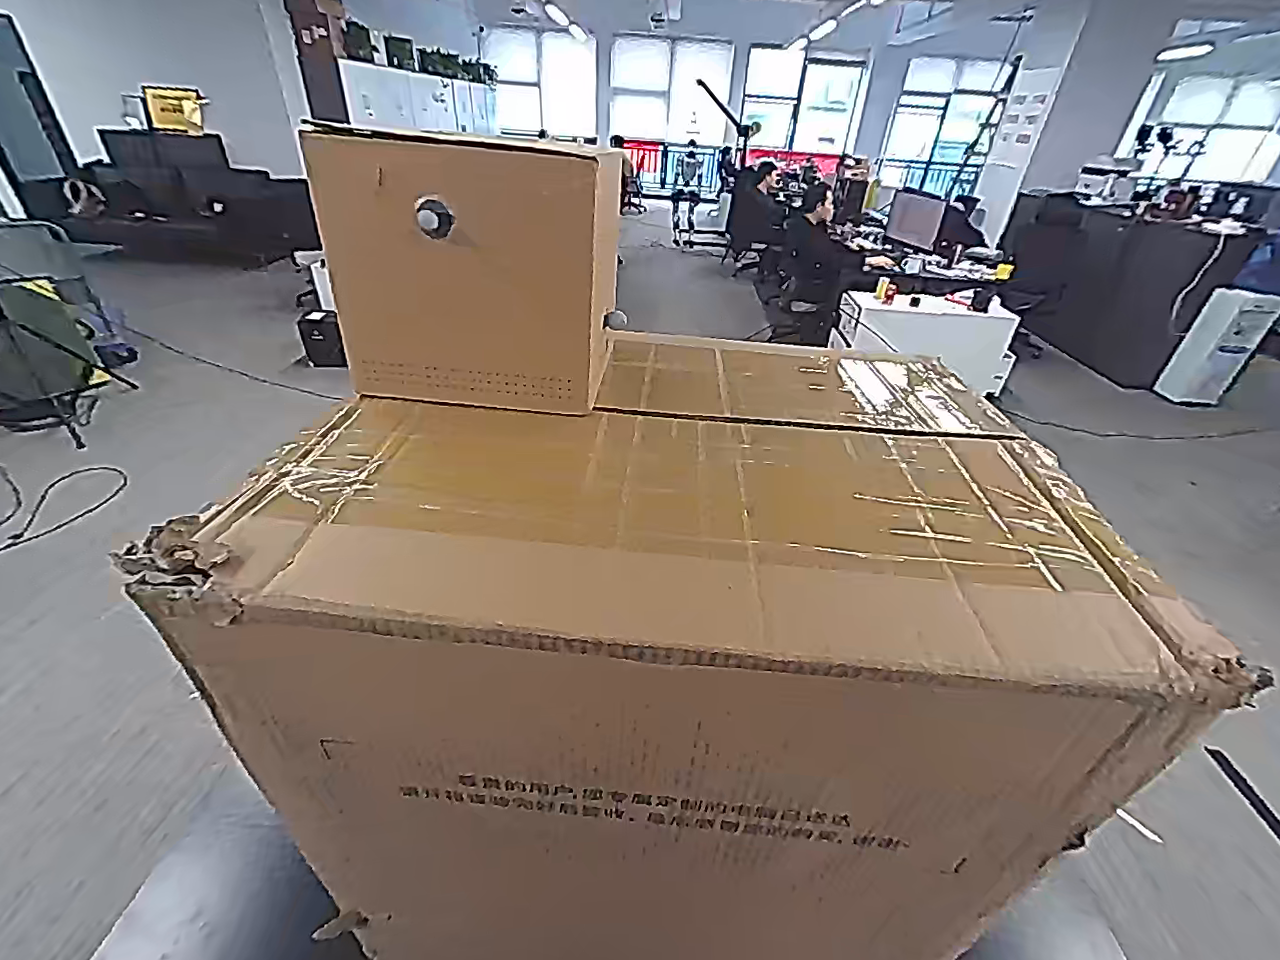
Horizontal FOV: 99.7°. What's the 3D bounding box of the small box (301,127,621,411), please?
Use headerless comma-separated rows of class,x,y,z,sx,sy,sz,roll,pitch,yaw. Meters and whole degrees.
small box,-0.112,-0.164,0.420,0.179,0.176,0.168,6,32,1
